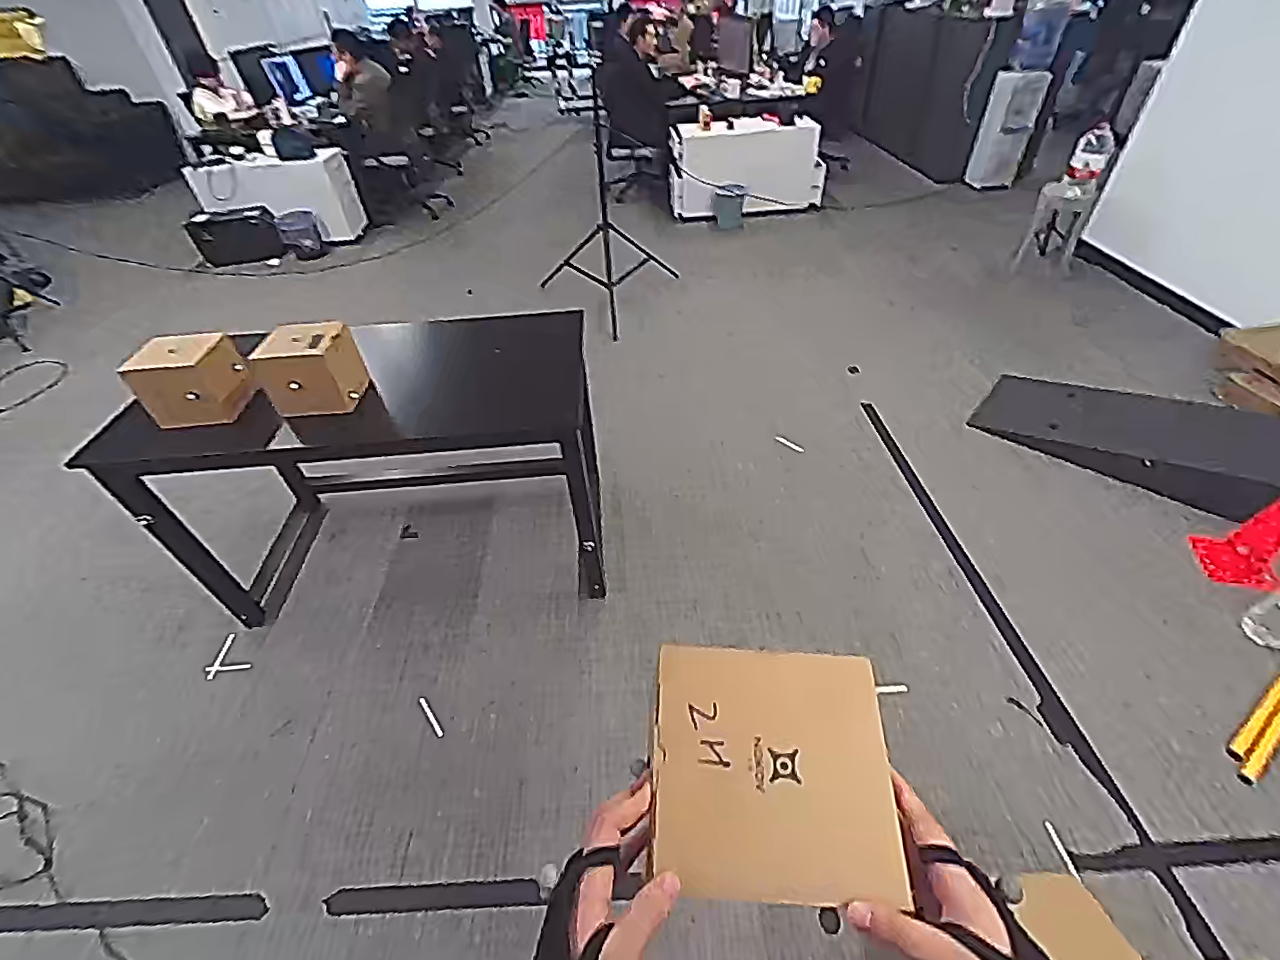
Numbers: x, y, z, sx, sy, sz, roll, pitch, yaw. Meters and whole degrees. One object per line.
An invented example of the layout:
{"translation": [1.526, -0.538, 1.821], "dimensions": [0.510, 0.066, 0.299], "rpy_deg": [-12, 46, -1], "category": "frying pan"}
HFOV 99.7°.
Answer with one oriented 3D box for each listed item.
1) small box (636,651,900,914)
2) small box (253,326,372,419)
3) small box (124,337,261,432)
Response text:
{"translation": [0.089, 0.257, 0.468], "dimensions": [0.179, 0.176, 0.168], "rpy_deg": [2, 57, 1], "category": "small box"}
{"translation": [-0.814, -0.270, 1.368], "dimensions": [0.179, 0.176, 0.168], "rpy_deg": [-5, 43, 1], "category": "small box"}
{"translation": [-1.107, -0.239, 1.359], "dimensions": [0.179, 0.176, 0.168], "rpy_deg": [-7, 42, -2], "category": "small box"}
